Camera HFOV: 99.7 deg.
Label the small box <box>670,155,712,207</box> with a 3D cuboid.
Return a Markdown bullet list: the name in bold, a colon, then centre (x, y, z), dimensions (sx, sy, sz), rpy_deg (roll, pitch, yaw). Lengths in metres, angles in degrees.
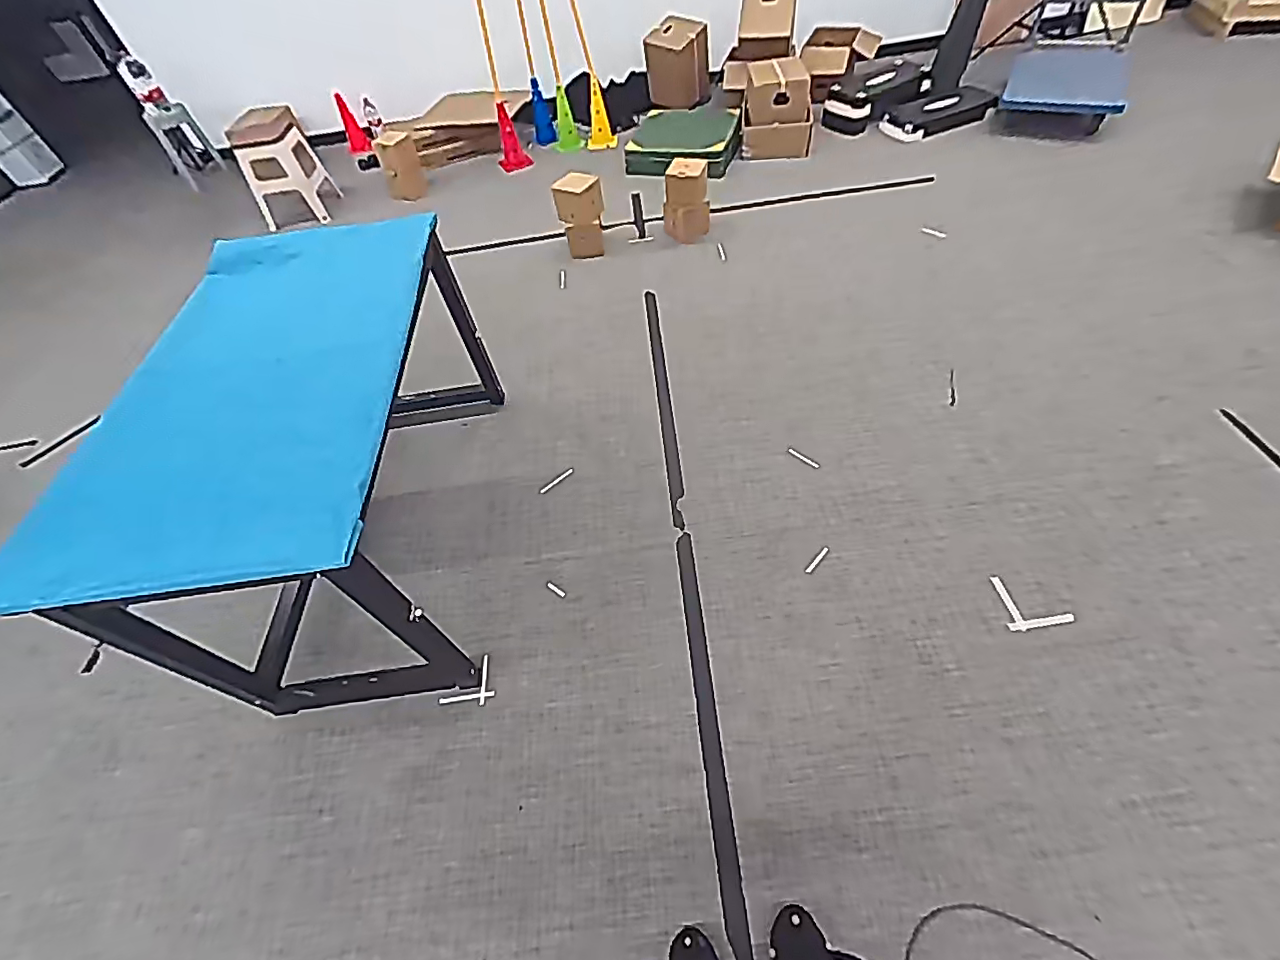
- **small box**: centre (0.252, -1.453, 2.626), dimensions (0.168, 0.176, 0.179), rpy_deg (12, 55, 15)

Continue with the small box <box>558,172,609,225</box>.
- **small box**: centre (-0.277, -1.384, 2.648), dimensions (0.179, 0.176, 0.168), rpy_deg (21, 58, 21)

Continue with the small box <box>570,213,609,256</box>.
- **small box**: centre (-0.254, -1.274, 2.772), dimensions (0.179, 0.176, 0.168), rpy_deg (-7, 52, 5)

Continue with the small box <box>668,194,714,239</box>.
- **small box**: centre (0.264, -1.363, 2.765), dimensions (0.179, 0.176, 0.168), rpy_deg (-34, 56, -18)
